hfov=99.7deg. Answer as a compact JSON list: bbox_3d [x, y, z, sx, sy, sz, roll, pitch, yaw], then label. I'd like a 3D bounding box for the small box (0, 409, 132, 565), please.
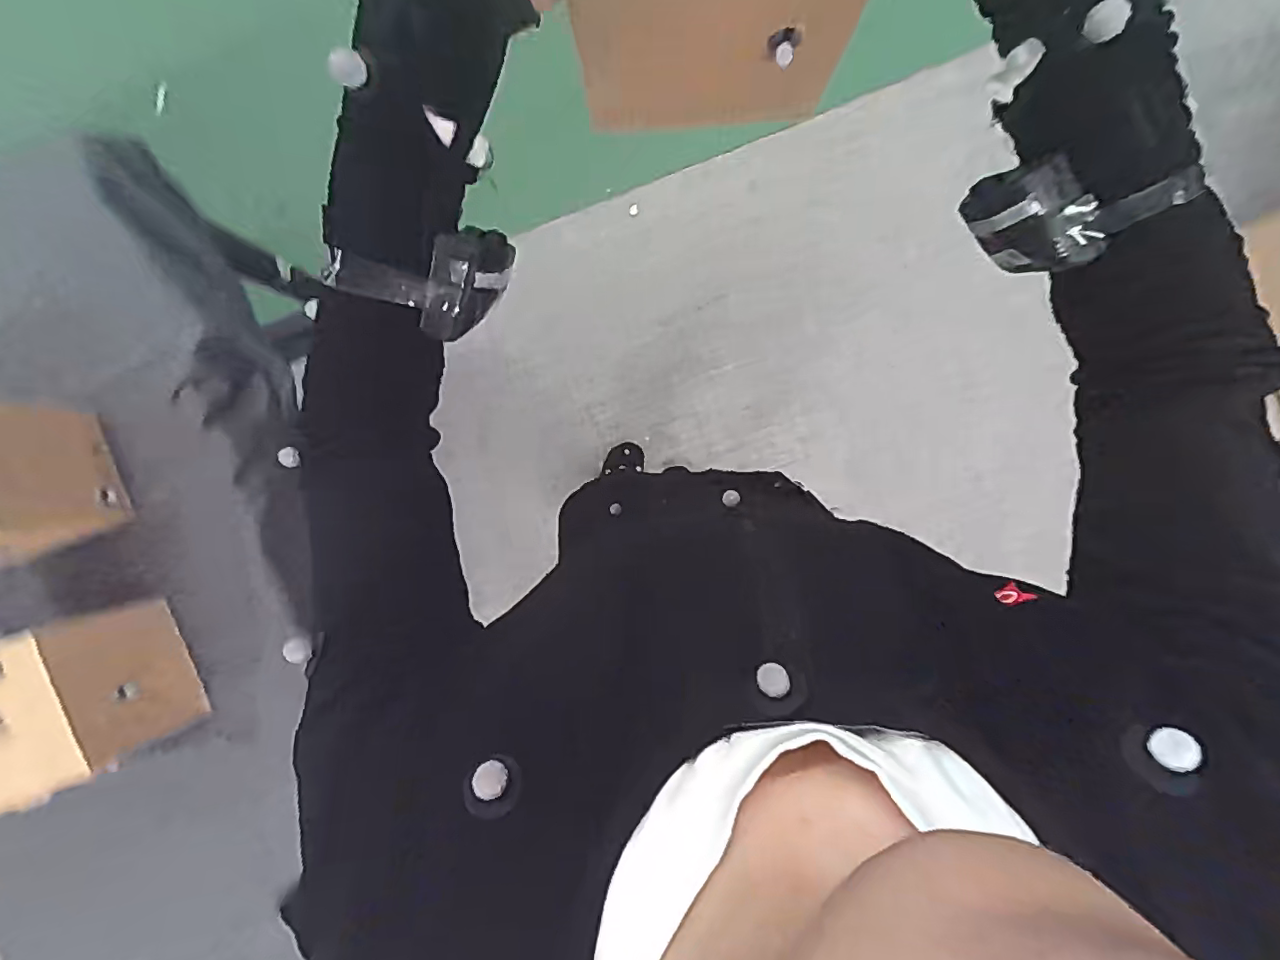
[{"bbox_3d":[-0.811,0.012,0.687,0.179,0.176,0.168,-21,92,3],"label":"small box"}]

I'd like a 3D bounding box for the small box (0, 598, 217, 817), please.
[{"bbox_3d":[-0.705,0.277,0.696,0.168,0.176,0.179,-23,92,2],"label":"small box"}]
